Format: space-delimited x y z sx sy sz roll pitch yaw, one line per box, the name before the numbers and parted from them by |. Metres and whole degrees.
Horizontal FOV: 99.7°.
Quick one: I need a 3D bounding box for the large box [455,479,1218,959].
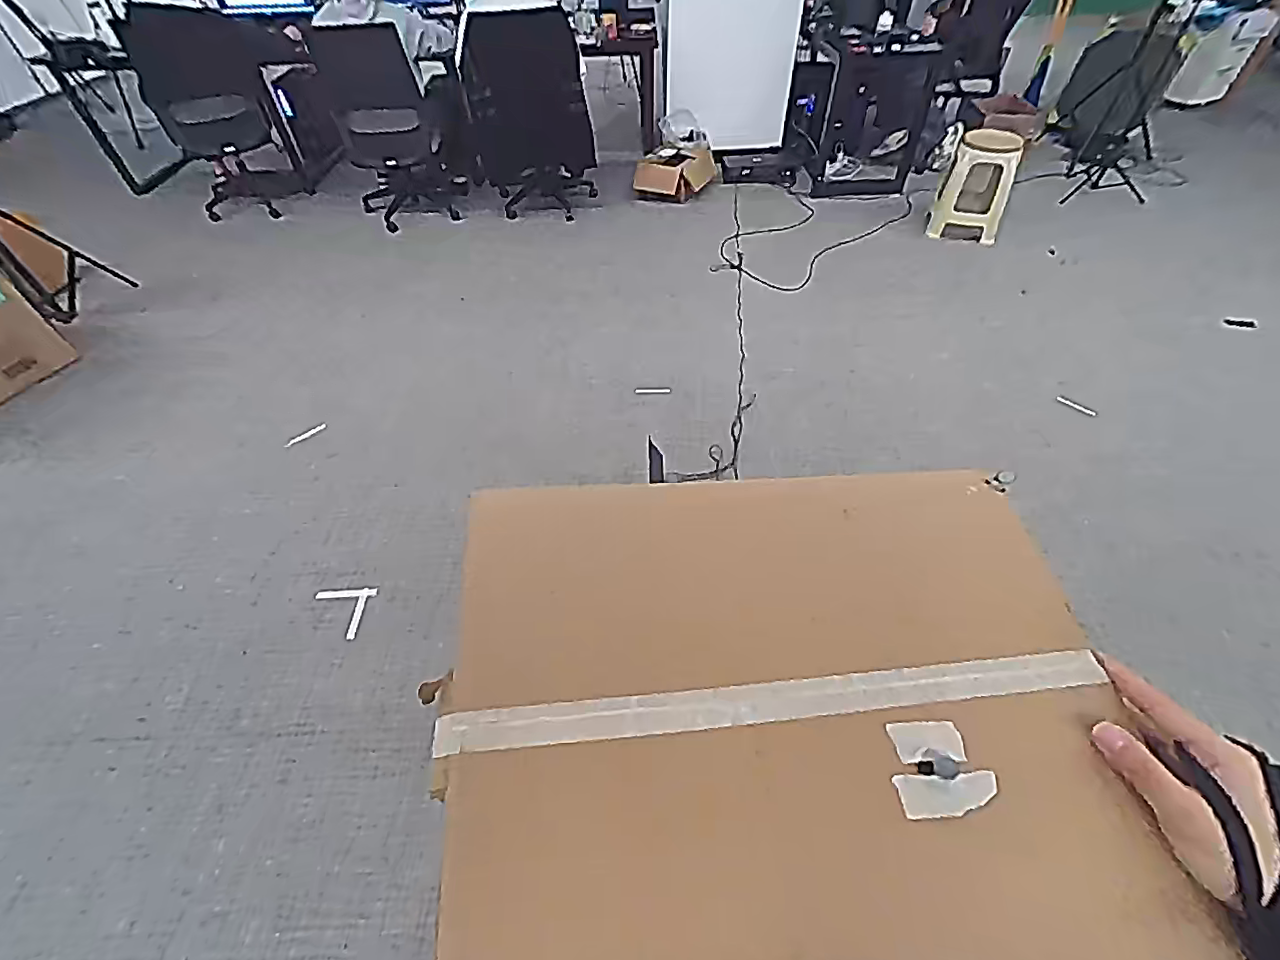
large box | 0.079 0.219 0.460 0.408 0.320 0.320 -3 58 -8
